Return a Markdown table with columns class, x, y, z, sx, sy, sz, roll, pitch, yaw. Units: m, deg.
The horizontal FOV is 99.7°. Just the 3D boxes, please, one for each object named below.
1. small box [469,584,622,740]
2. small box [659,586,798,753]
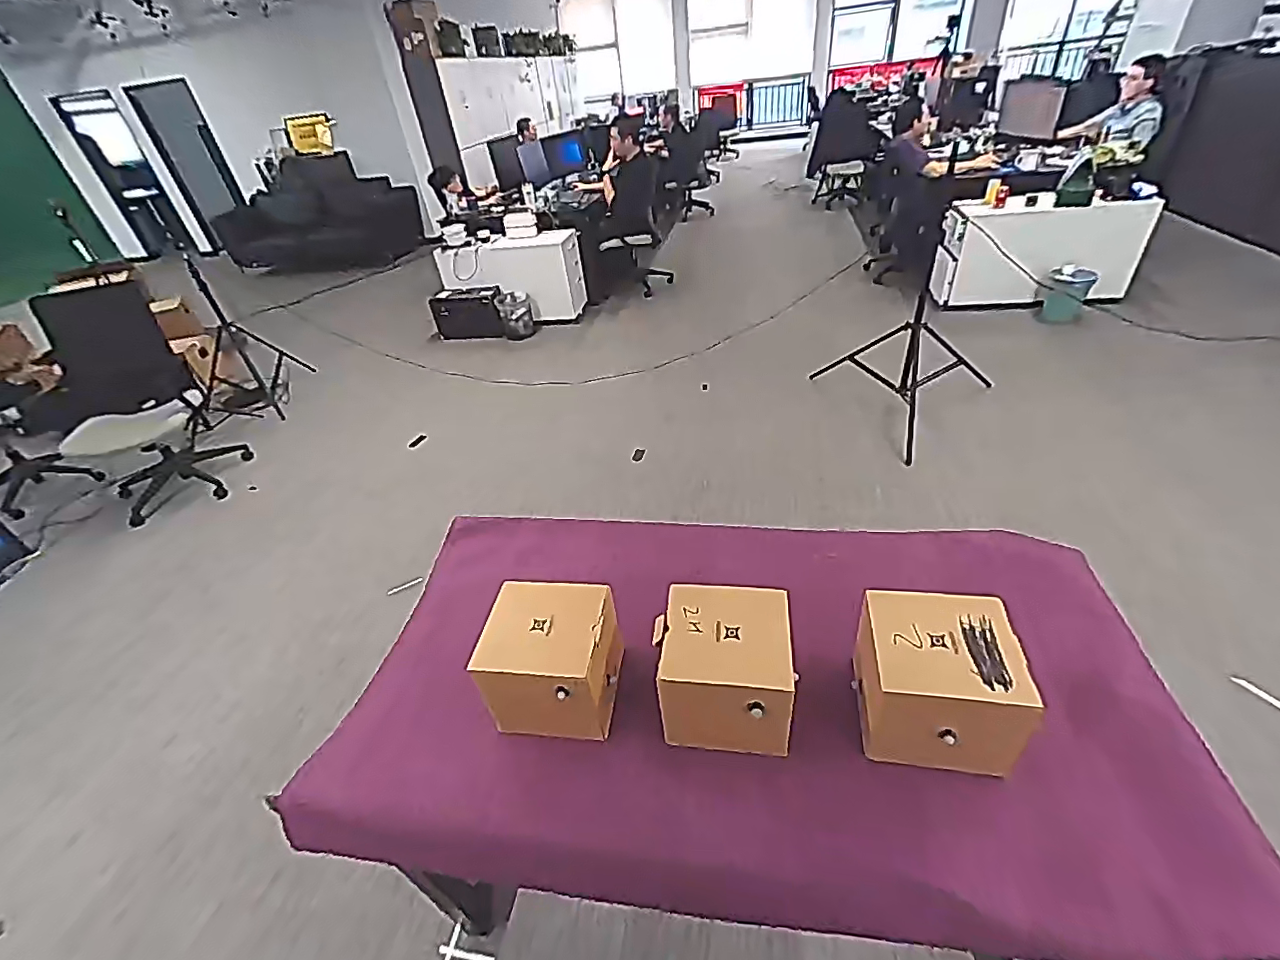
| class | x | y | z | sx | sy | sz | roll | pitch | yaw |
| --- | --- | --- | --- | --- | --- | --- | --- | --- | --- |
| small box | -0.133 | 0.281 | 0.839 | 0.179 | 0.176 | 0.168 | 0 | 37 | 9 |
| small box | 0.130 | 0.277 | 0.792 | 0.179 | 0.176 | 0.168 | 0 | 37 | 11 |
